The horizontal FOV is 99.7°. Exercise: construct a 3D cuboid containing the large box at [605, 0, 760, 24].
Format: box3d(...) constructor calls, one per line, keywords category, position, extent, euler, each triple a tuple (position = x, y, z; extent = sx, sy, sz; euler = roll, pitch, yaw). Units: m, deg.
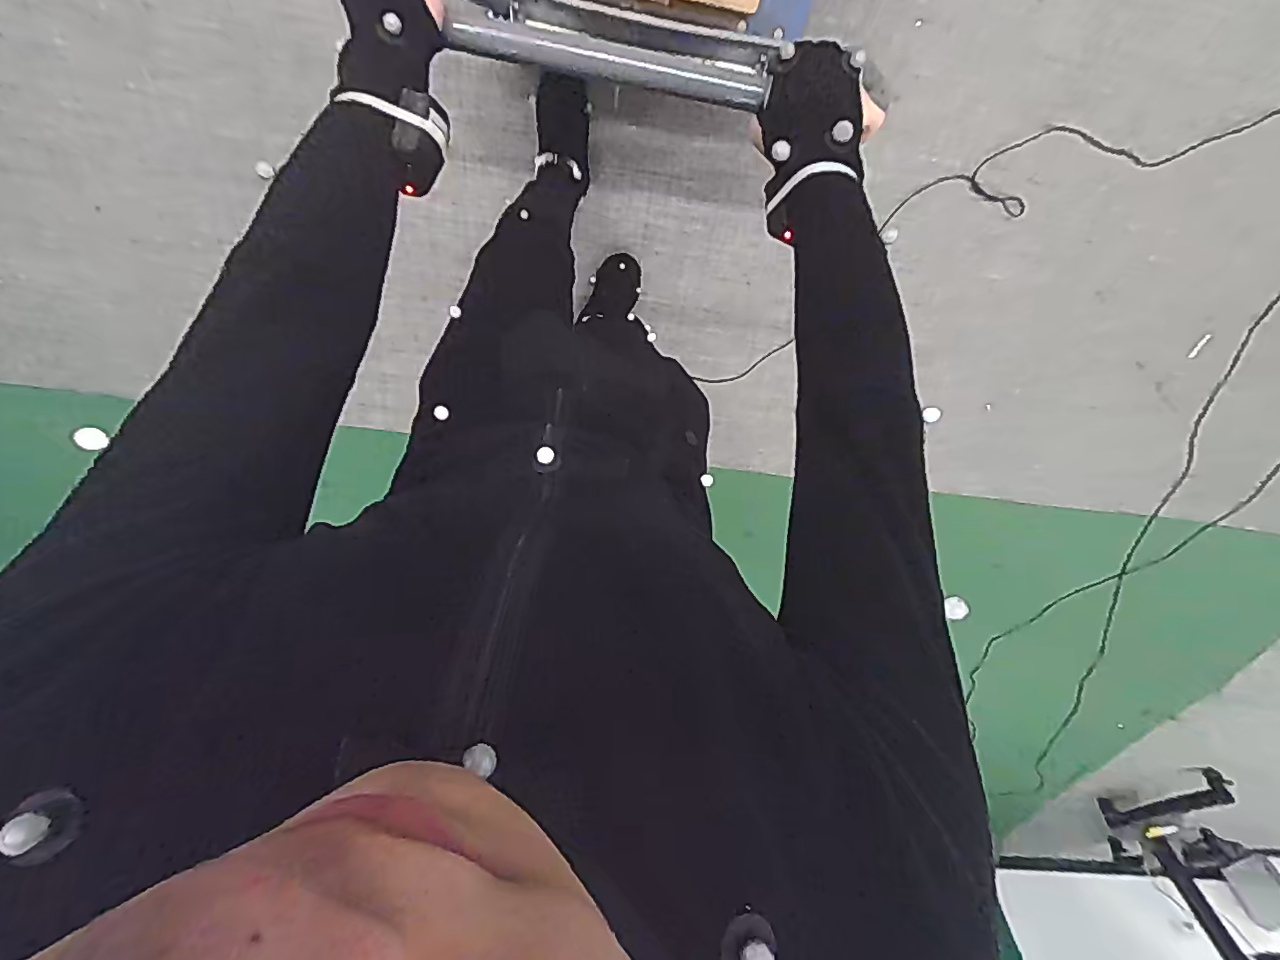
box3d(category="large box", position=(0.047, -0.911, 0.730), extent=(0.320, 0.320, 0.408), euler=(8, 126, -5))
